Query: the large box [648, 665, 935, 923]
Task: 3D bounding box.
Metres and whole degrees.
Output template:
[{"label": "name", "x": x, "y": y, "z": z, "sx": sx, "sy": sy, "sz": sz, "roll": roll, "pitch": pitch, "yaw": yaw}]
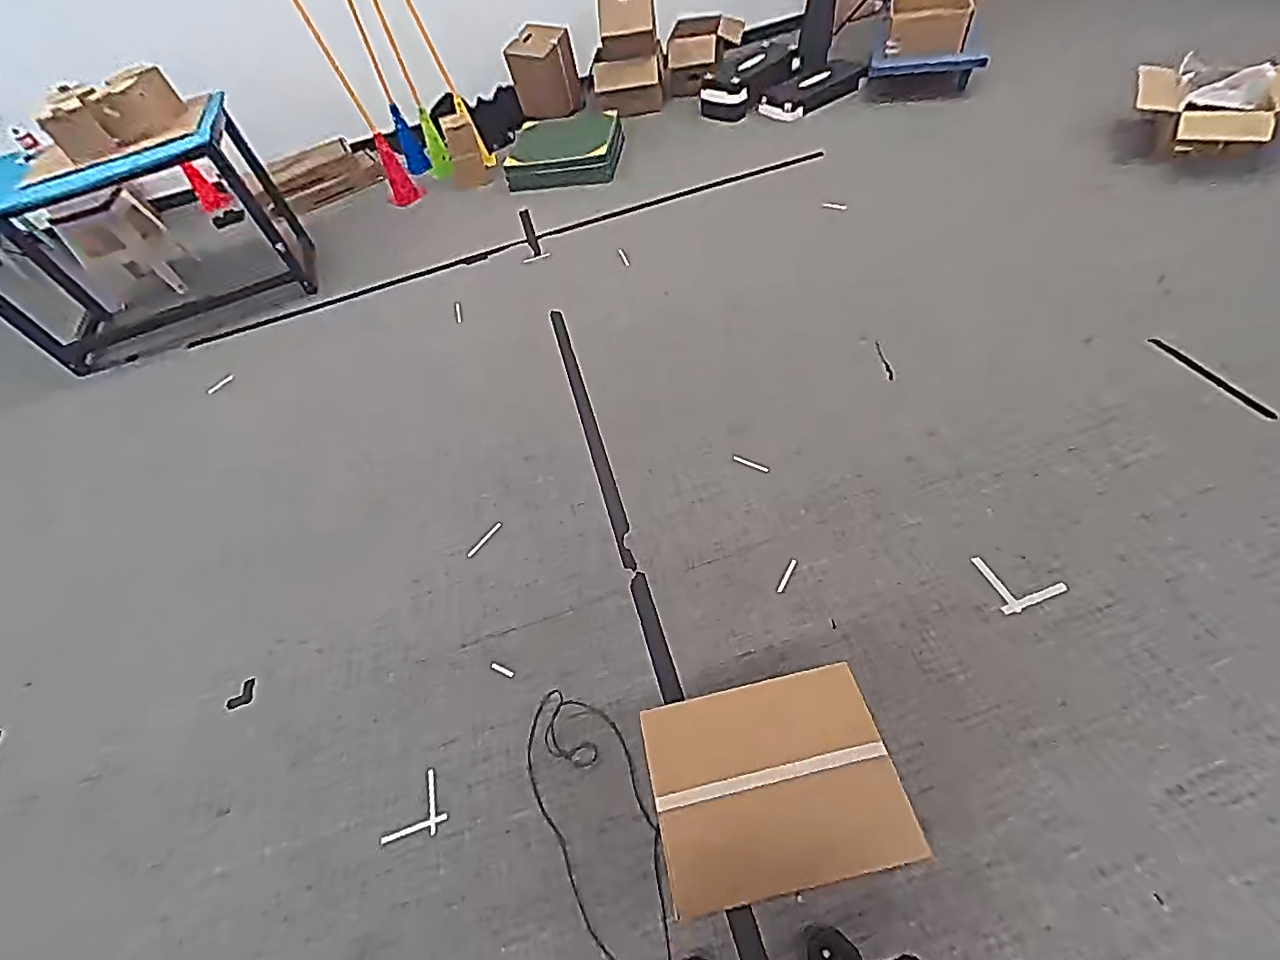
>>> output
[{"label": "large box", "x": 0.254, "y": 0.602, "z": 1.034, "sx": 0.408, "sy": 0.320, "sz": 0.320, "roll": -14, "pitch": 52, "yaw": 0}]
